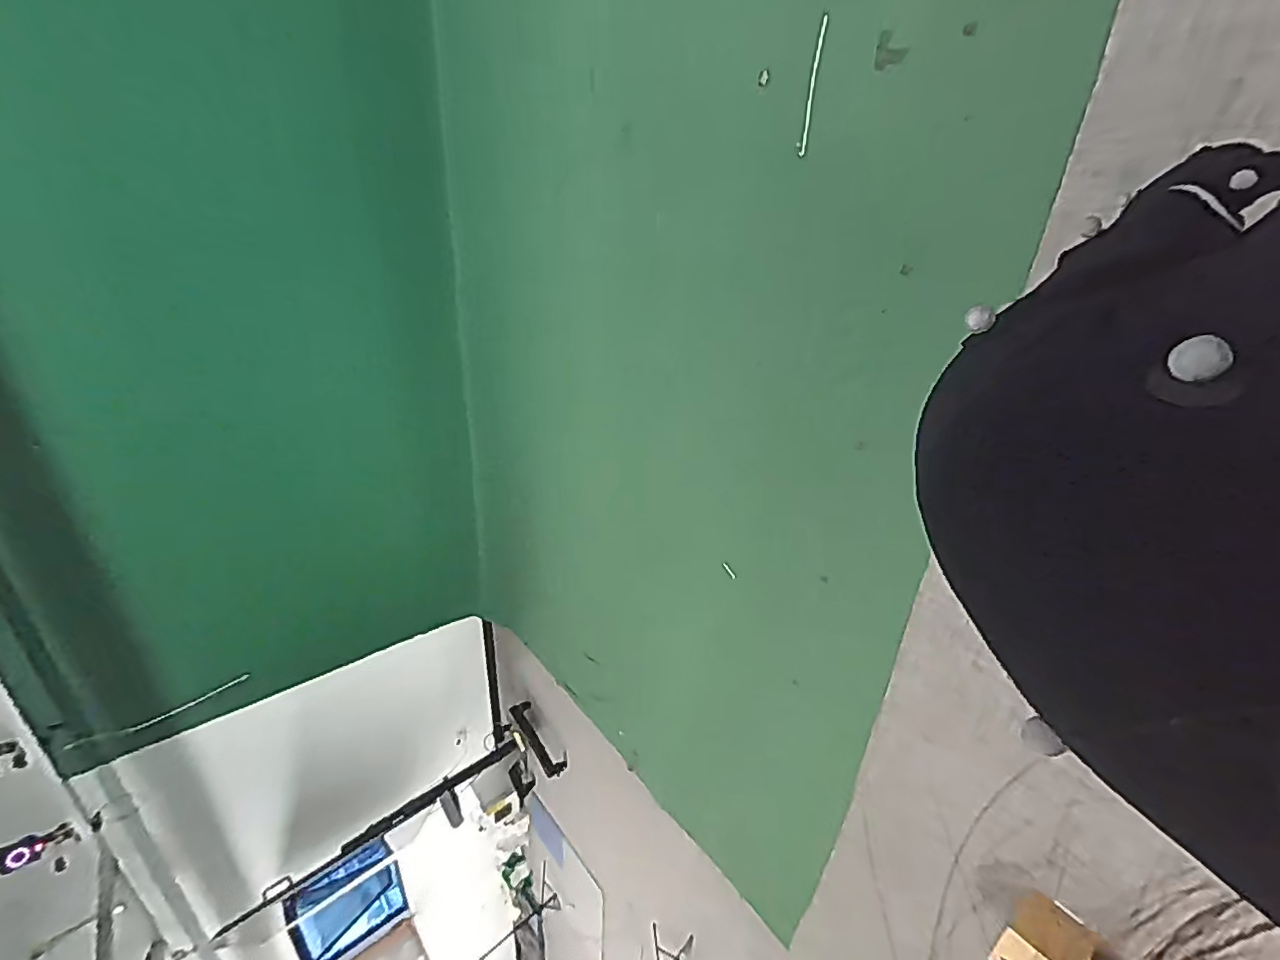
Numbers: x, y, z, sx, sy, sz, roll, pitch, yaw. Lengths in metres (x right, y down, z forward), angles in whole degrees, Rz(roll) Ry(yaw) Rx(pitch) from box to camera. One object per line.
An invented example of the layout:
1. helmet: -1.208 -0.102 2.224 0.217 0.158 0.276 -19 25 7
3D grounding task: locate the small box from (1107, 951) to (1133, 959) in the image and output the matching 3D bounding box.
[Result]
1. small box: 1.239 1.346 1.350 0.168 0.176 0.179 29 126 42
